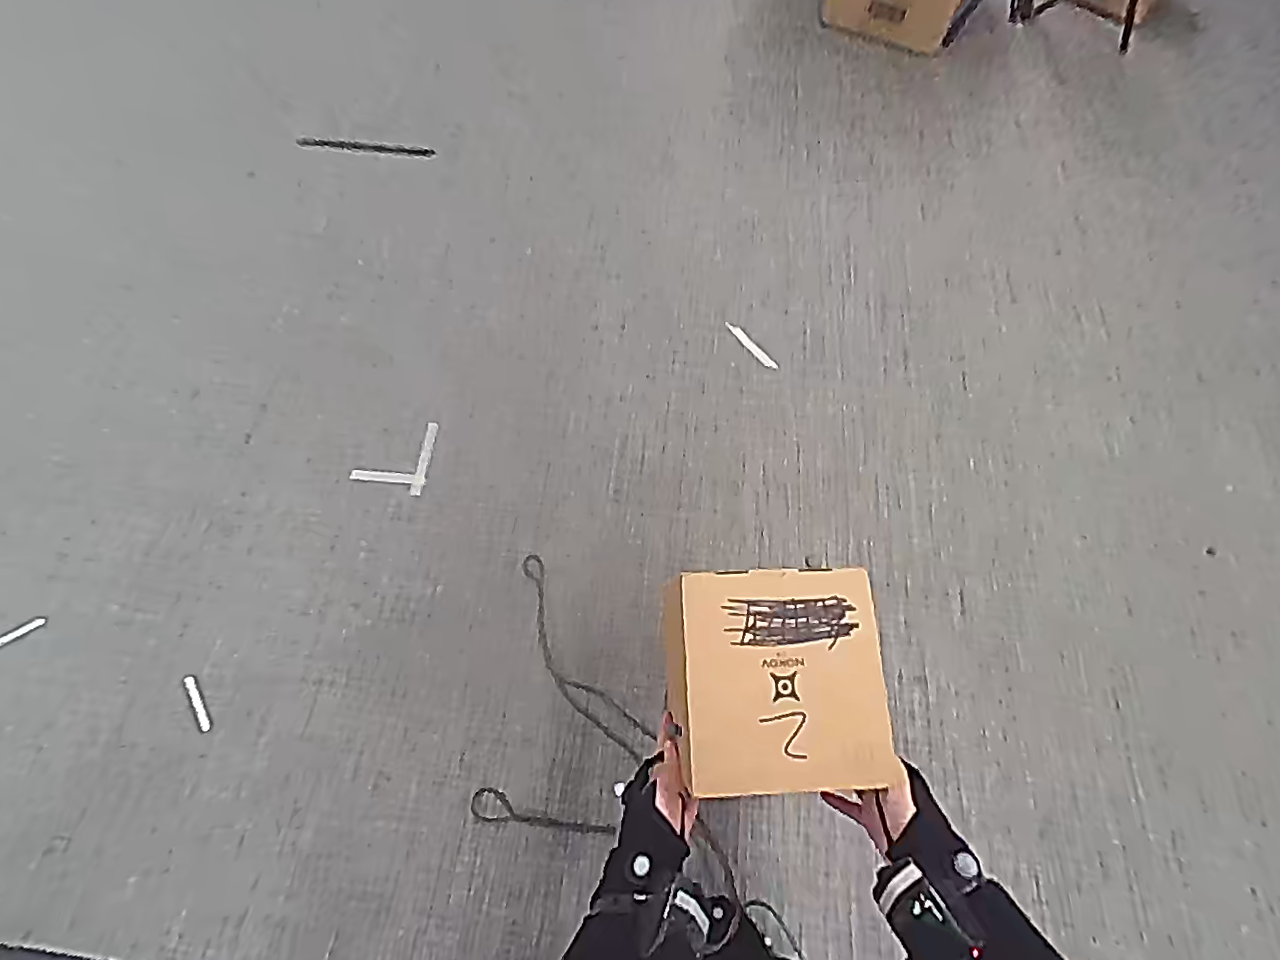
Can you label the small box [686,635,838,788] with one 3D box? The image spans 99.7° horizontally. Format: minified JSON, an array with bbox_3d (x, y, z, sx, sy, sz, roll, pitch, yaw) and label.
[{"bbox_3d":[0.187,0.371,0.863,0.168,0.176,0.179,13,46,-15],"label":"small box"}]
